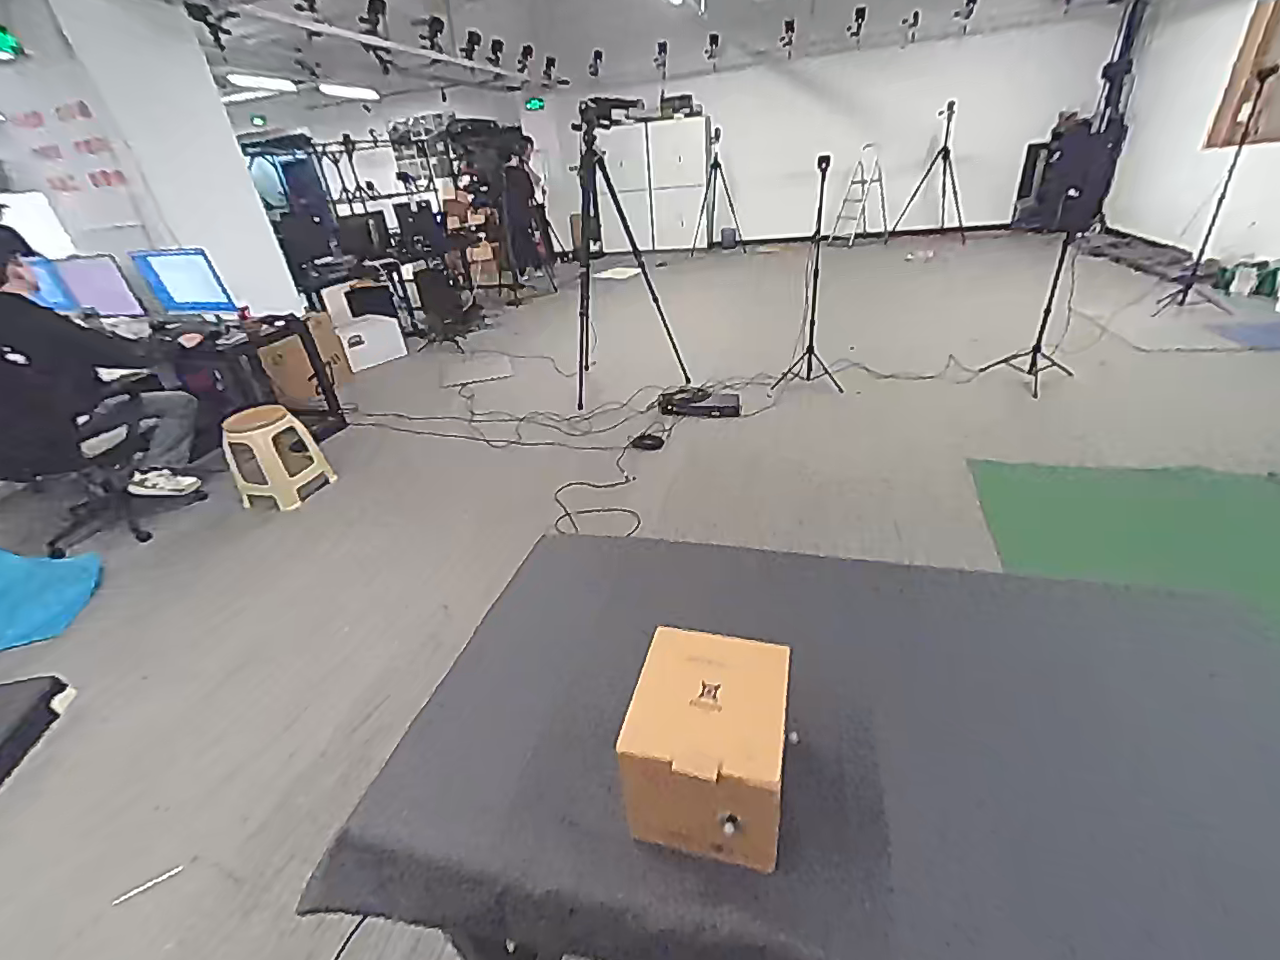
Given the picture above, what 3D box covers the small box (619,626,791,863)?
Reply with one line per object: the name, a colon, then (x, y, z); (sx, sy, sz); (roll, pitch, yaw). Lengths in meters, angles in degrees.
small box: (0.085, 0.305, 0.636); (0.168, 0.176, 0.179); (5, 31, 15)
